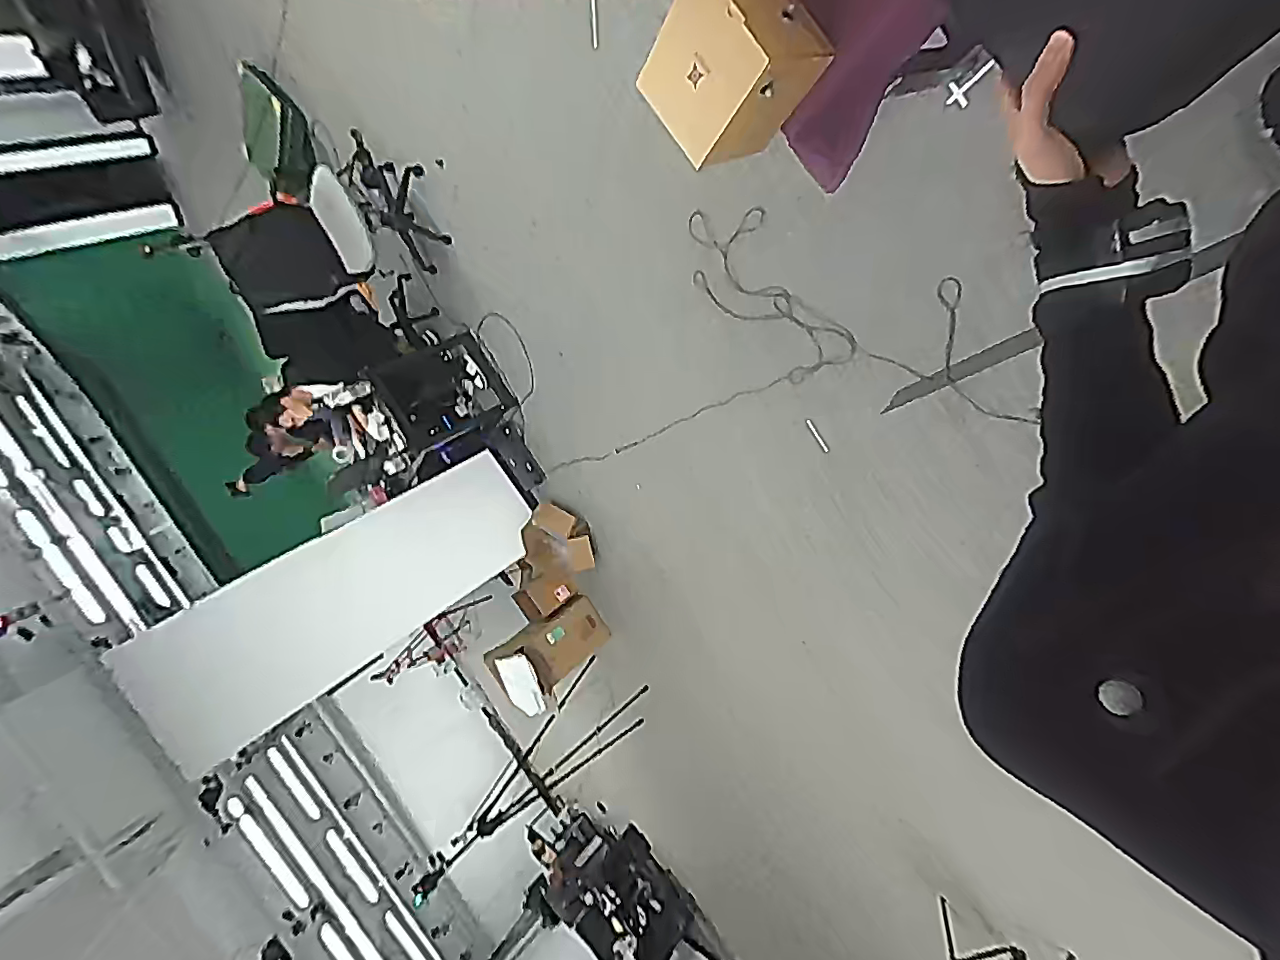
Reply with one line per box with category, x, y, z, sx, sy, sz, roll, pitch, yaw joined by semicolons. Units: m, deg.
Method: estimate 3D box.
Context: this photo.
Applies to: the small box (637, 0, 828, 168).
small box;0.133;-0.598;0.787;0.168;0.176;0.179;55;146;1
